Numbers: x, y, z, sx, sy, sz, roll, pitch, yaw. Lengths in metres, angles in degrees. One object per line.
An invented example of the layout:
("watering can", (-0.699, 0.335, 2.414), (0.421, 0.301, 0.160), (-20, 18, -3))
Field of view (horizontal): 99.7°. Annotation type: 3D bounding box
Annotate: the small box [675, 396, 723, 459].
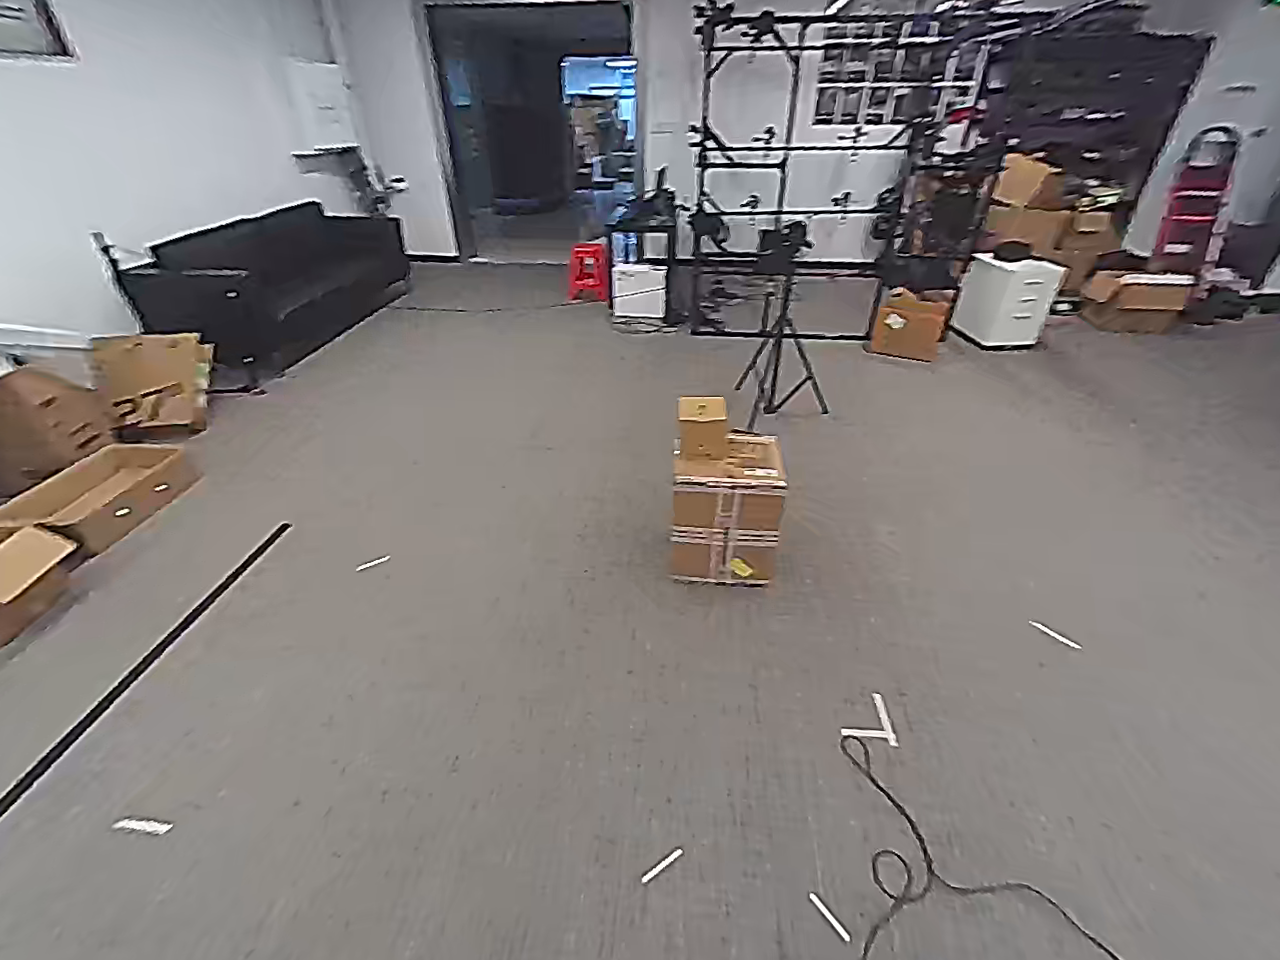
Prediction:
("small box", (0.215, -0.196, 2.000), (0.168, 0.176, 0.179), (0, 37, 5))
